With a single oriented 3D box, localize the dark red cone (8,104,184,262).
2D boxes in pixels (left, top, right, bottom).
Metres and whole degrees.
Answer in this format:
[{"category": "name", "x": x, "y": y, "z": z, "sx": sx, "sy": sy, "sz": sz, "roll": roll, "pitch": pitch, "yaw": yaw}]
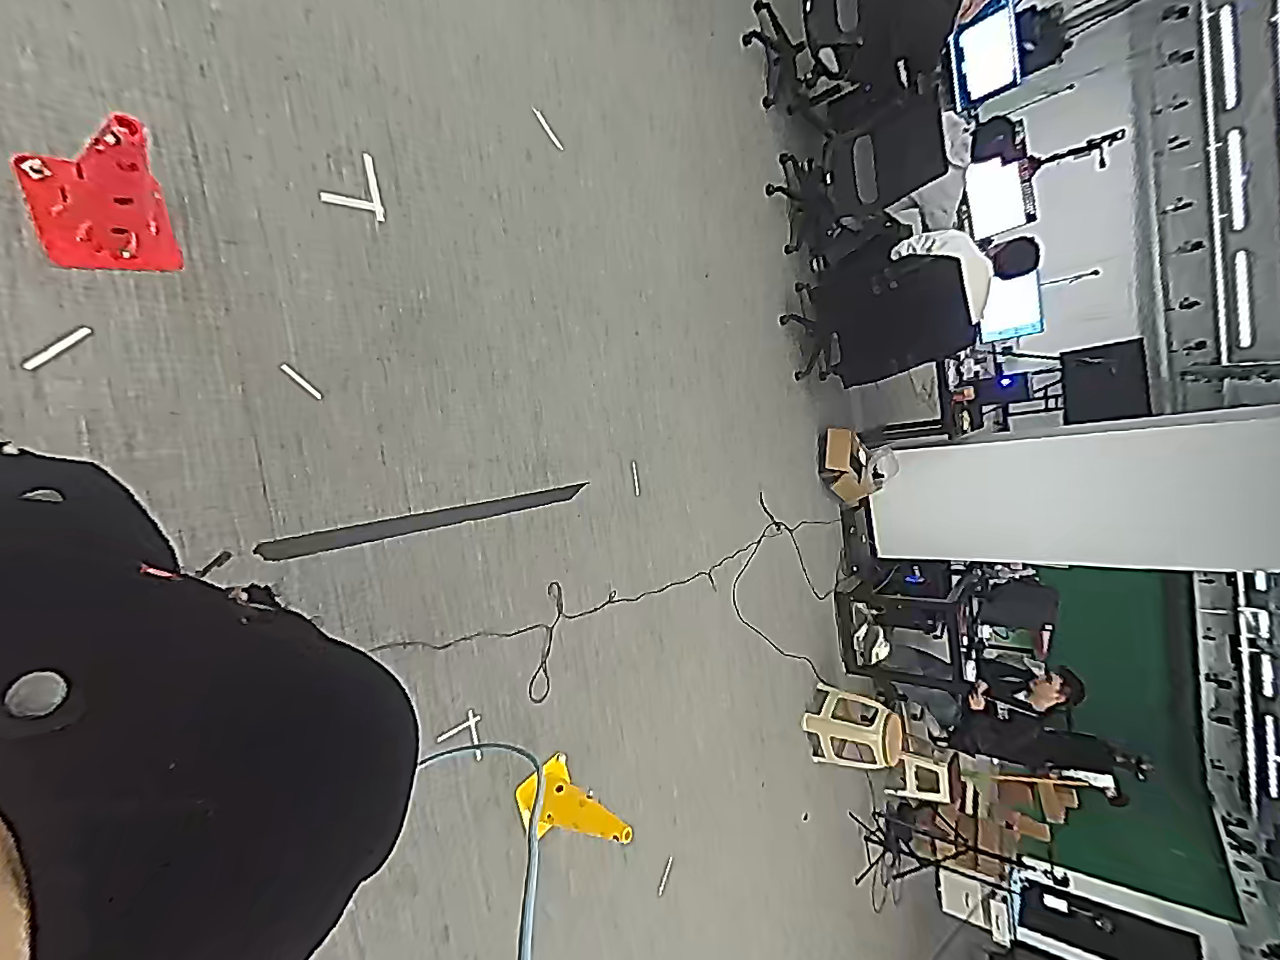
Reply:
[{"category": "dark red cone", "x": -0.875, "y": -0.517, "z": 0.901, "sx": 0.202, "sy": 0.394, "sz": 0.201, "roll": -24, "pitch": 106, "yaw": -48}]
